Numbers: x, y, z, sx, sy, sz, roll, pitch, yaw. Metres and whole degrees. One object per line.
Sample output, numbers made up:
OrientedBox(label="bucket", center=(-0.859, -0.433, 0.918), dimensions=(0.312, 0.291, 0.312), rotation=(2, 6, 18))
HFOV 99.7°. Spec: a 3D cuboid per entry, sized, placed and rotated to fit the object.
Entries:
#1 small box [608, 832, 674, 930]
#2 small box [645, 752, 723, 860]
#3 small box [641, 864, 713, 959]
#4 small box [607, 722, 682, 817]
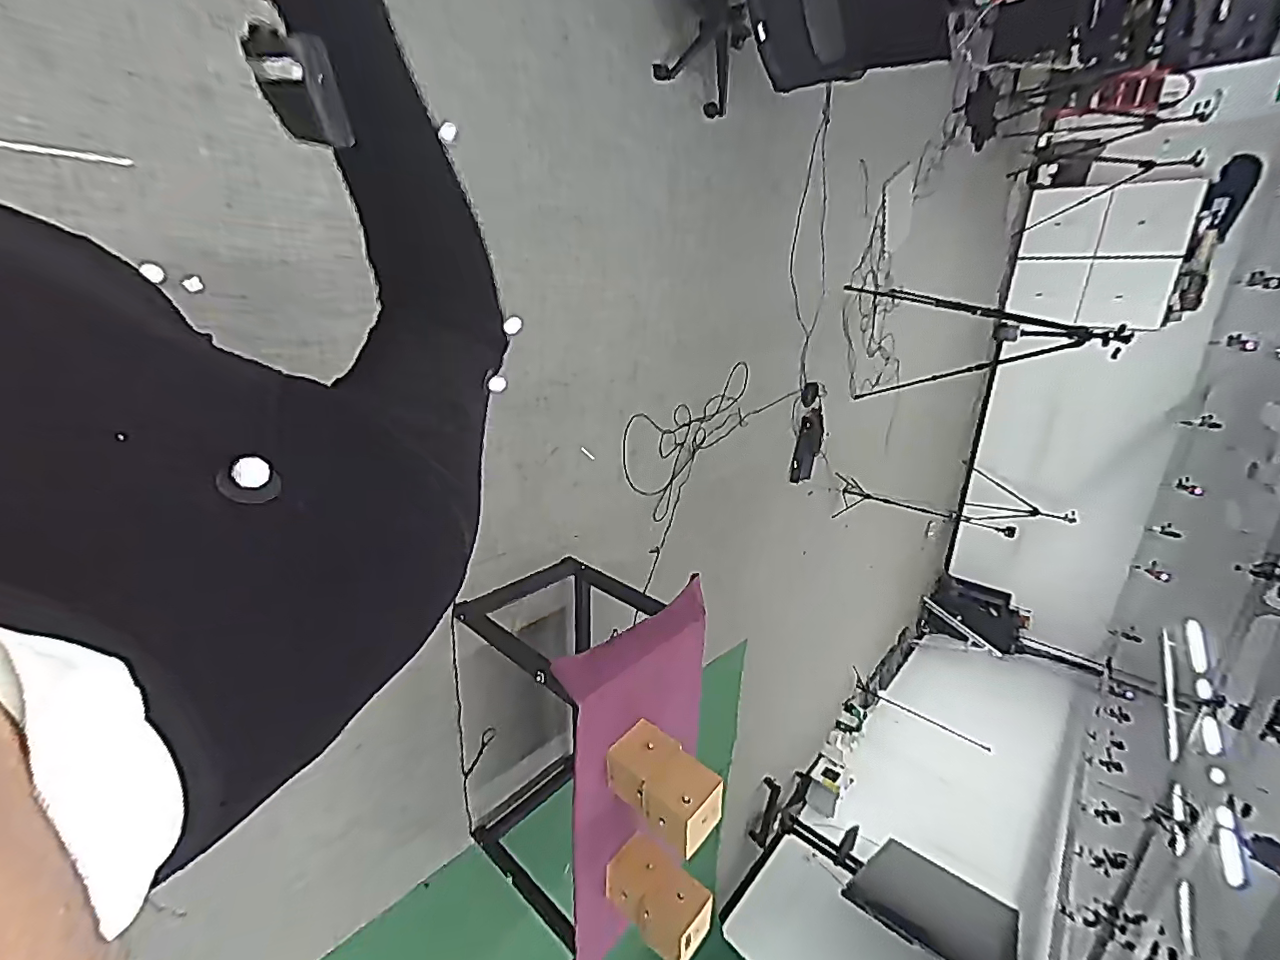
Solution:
OrientedBox(label="small box", center=(-0.001, 1.387, 1.879), dimensions=(0.179, 0.176, 0.168), rotation=(-22, 119, -47))
OrientedBox(label="small box", center=(0.128, 0.959, 1.607), dimensions=(0.179, 0.176, 0.168), rotation=(-24, 122, -44))
OrientedBox(label="small box", center=(0.119, 1.425, 1.772), dimensions=(0.179, 0.176, 0.168), rotation=(-18, 117, -49))
OrientedBox(label="small box", center=(0.015, 0.915, 1.721), dimensions=(0.179, 0.176, 0.168), rotation=(-25, 121, -44))
